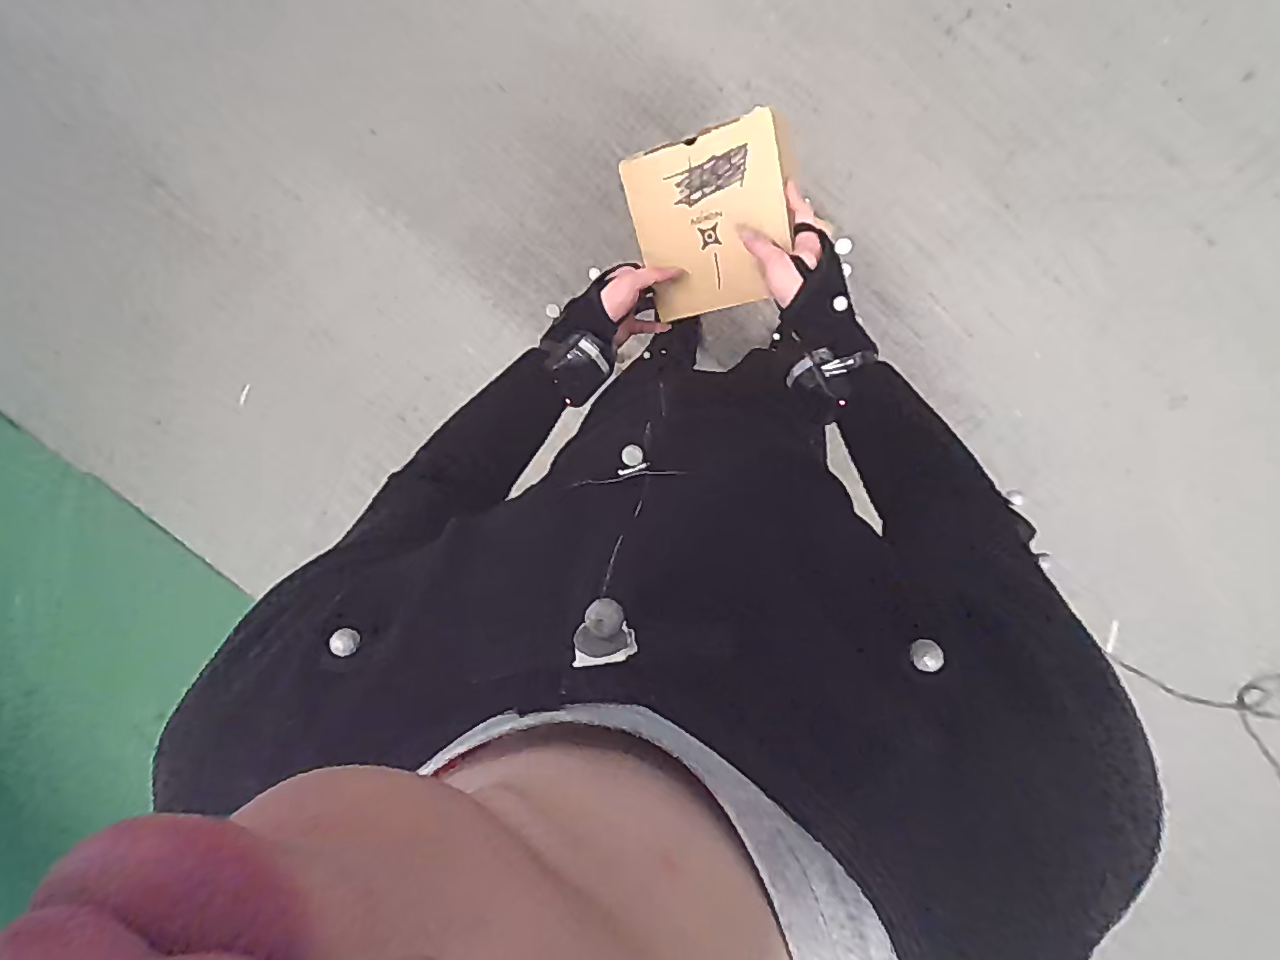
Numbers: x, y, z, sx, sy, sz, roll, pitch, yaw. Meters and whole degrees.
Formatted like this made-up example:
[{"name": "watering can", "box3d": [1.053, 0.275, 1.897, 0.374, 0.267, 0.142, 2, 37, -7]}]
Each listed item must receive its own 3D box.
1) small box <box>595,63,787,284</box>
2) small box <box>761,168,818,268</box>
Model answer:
[{"name": "small box", "box3d": [0.072, -0.347, 0.624, 0.168, 0.176, 0.179, -2, 123, 24]}, {"name": "small box", "box3d": [0.277, -0.605, 1.215, 0.168, 0.176, 0.179, 29, 119, -2]}]
